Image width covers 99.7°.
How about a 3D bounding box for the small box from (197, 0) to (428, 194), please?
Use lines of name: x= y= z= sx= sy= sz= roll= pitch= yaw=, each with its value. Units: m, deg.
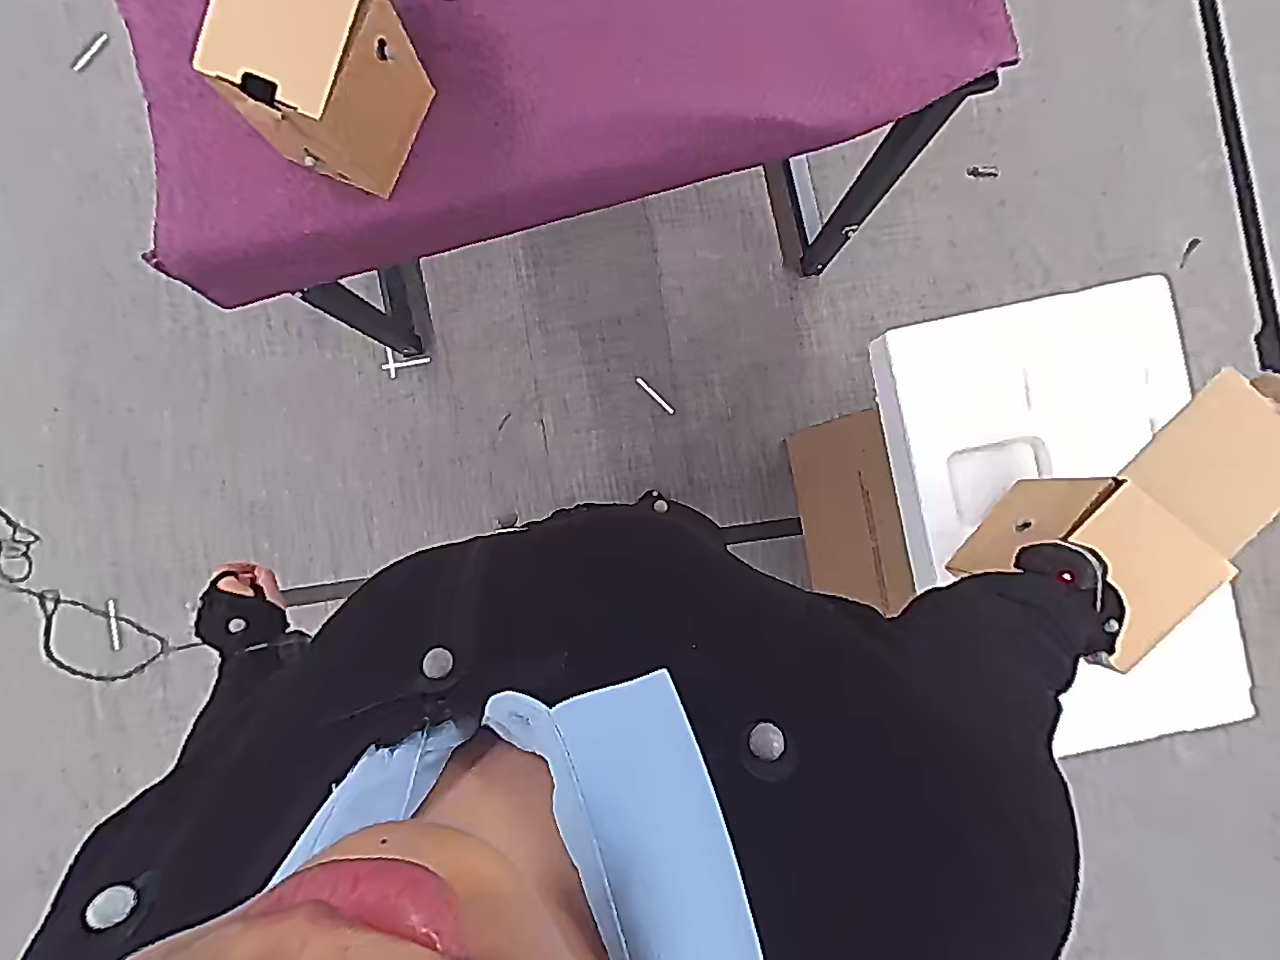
small box: x=-0.402 y=-0.520 z=0.702 sx=0.168 sy=0.176 sz=0.179 roll=23 pitch=88 yaw=1
